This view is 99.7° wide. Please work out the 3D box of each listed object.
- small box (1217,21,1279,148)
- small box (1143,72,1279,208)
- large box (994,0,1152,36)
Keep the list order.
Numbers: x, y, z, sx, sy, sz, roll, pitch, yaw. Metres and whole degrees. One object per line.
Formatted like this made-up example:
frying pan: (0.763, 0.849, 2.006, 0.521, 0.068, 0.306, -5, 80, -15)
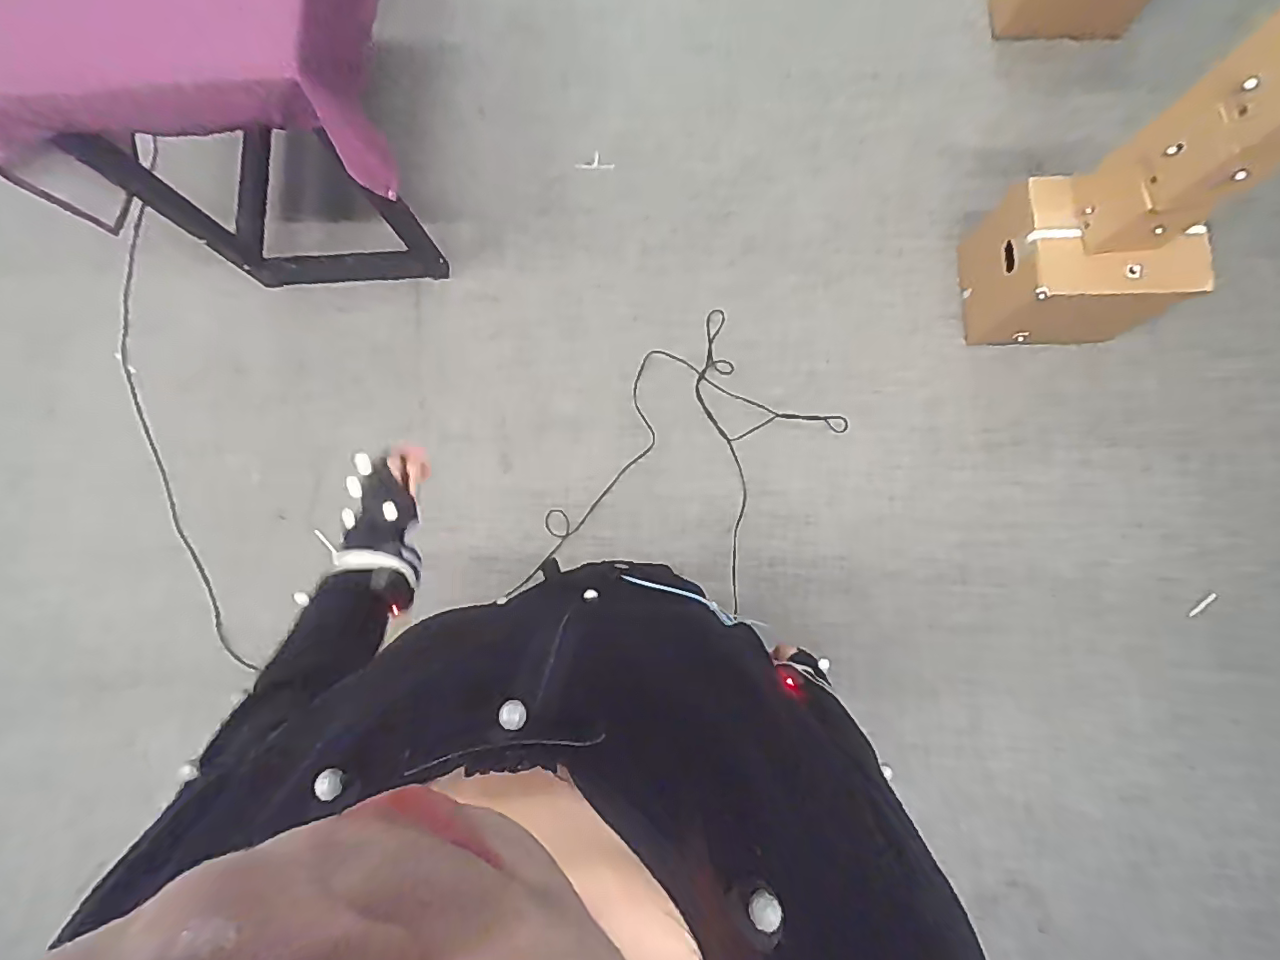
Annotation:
small box: (1.131, -0.684, 0.883, 0.179, 0.176, 0.168, -9, 80, 1)
small box: (1.134, -0.657, 1.047, 0.179, 0.176, 0.168, -8, 81, 1)
large box: (1.323, -1.574, 1.582, 0.408, 0.320, 0.320, 0, 82, 1)
